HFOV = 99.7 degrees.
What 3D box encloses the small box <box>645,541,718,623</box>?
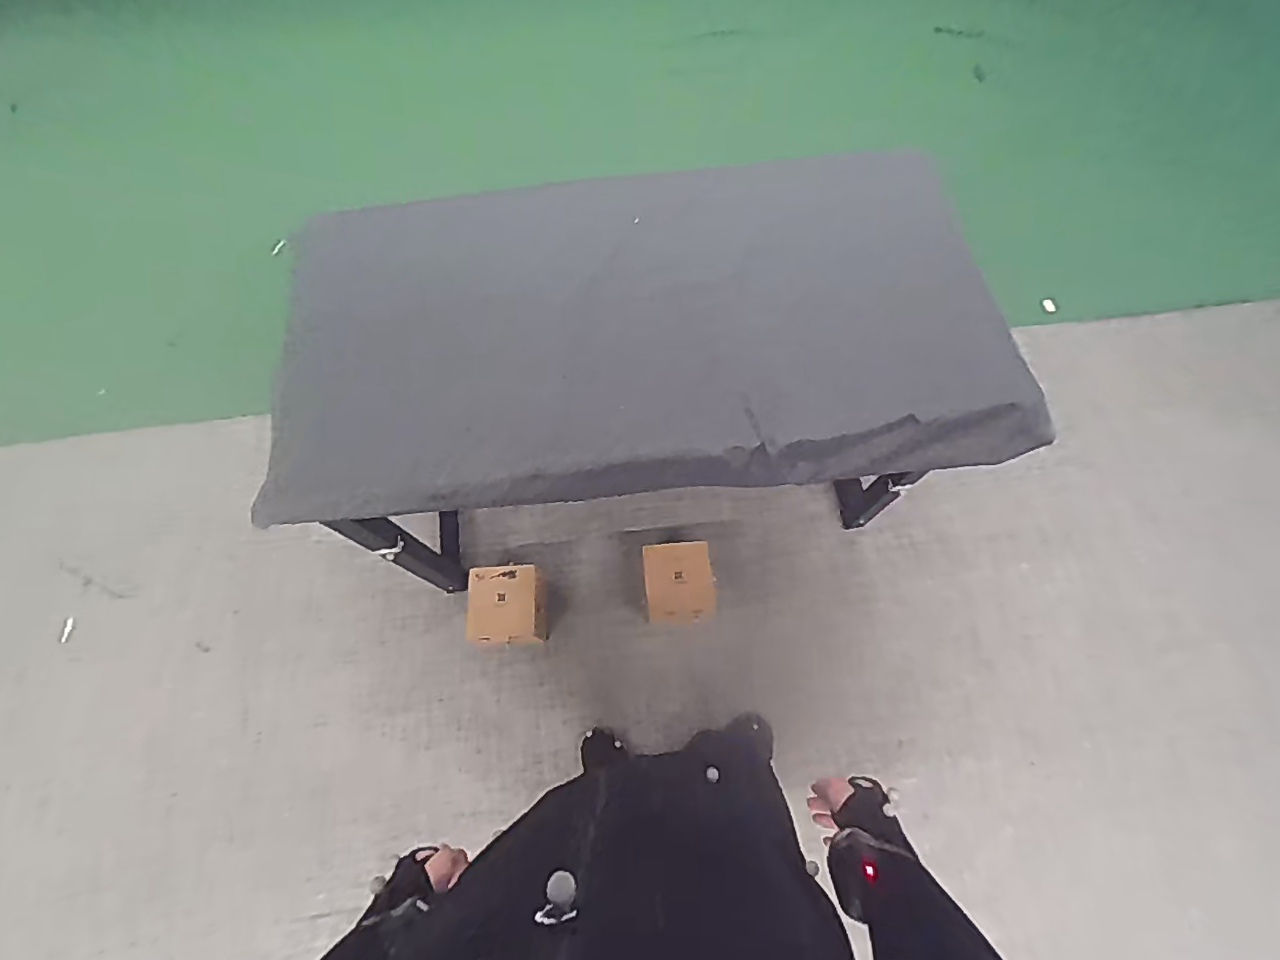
[{"bbox_3d":[0.103,0.270,1.402,0.168,0.176,0.179,-5,66,-2],"label":"small box"}]
